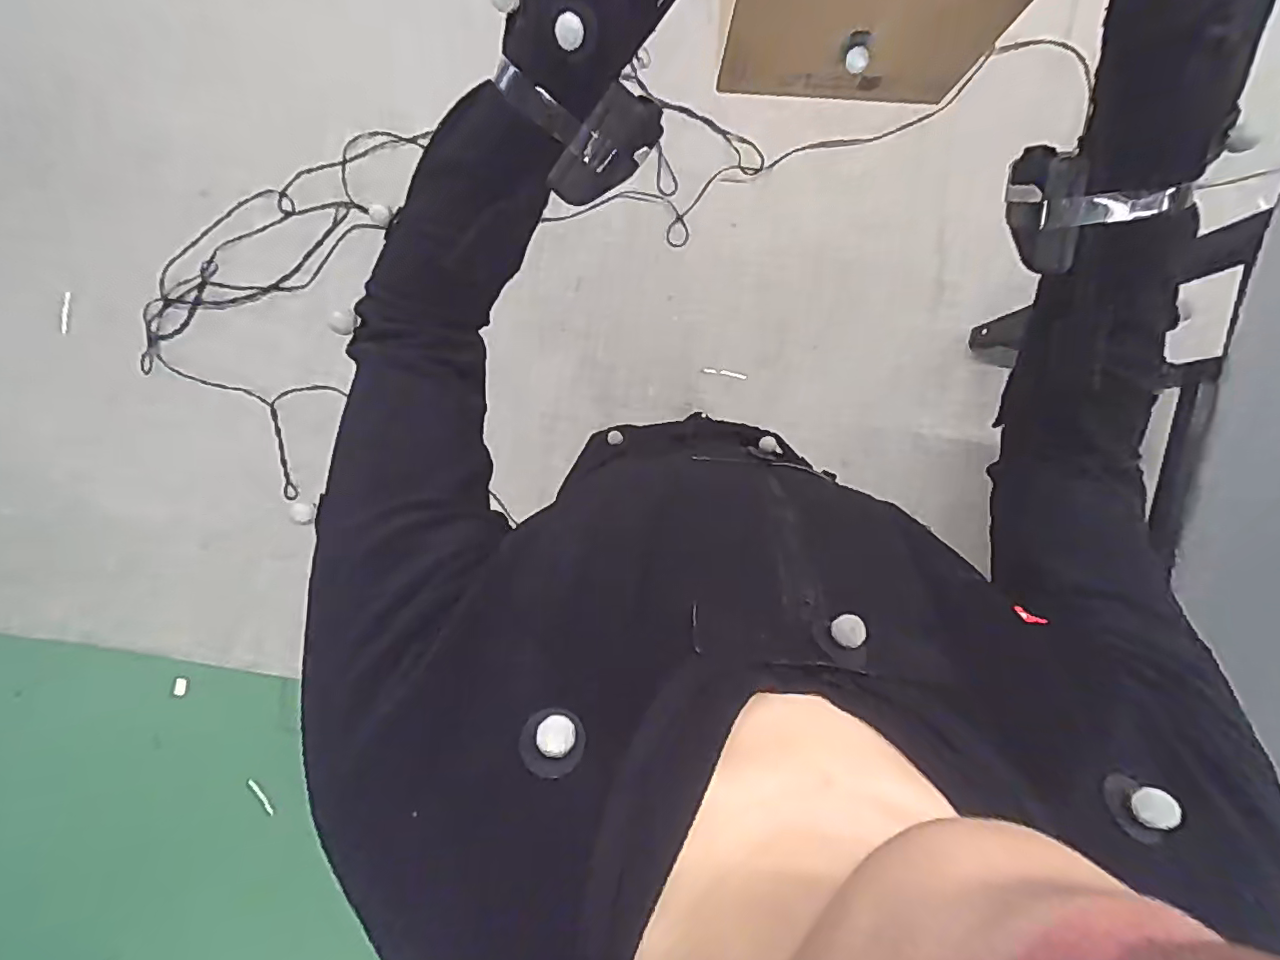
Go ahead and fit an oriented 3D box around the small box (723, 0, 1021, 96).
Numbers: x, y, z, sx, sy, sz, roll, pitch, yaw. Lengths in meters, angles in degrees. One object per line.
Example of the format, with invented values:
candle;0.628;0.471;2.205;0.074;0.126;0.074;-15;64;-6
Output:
small box;0.144;-0.363;0.303;0.168;0.176;0.179;3;94;-1
